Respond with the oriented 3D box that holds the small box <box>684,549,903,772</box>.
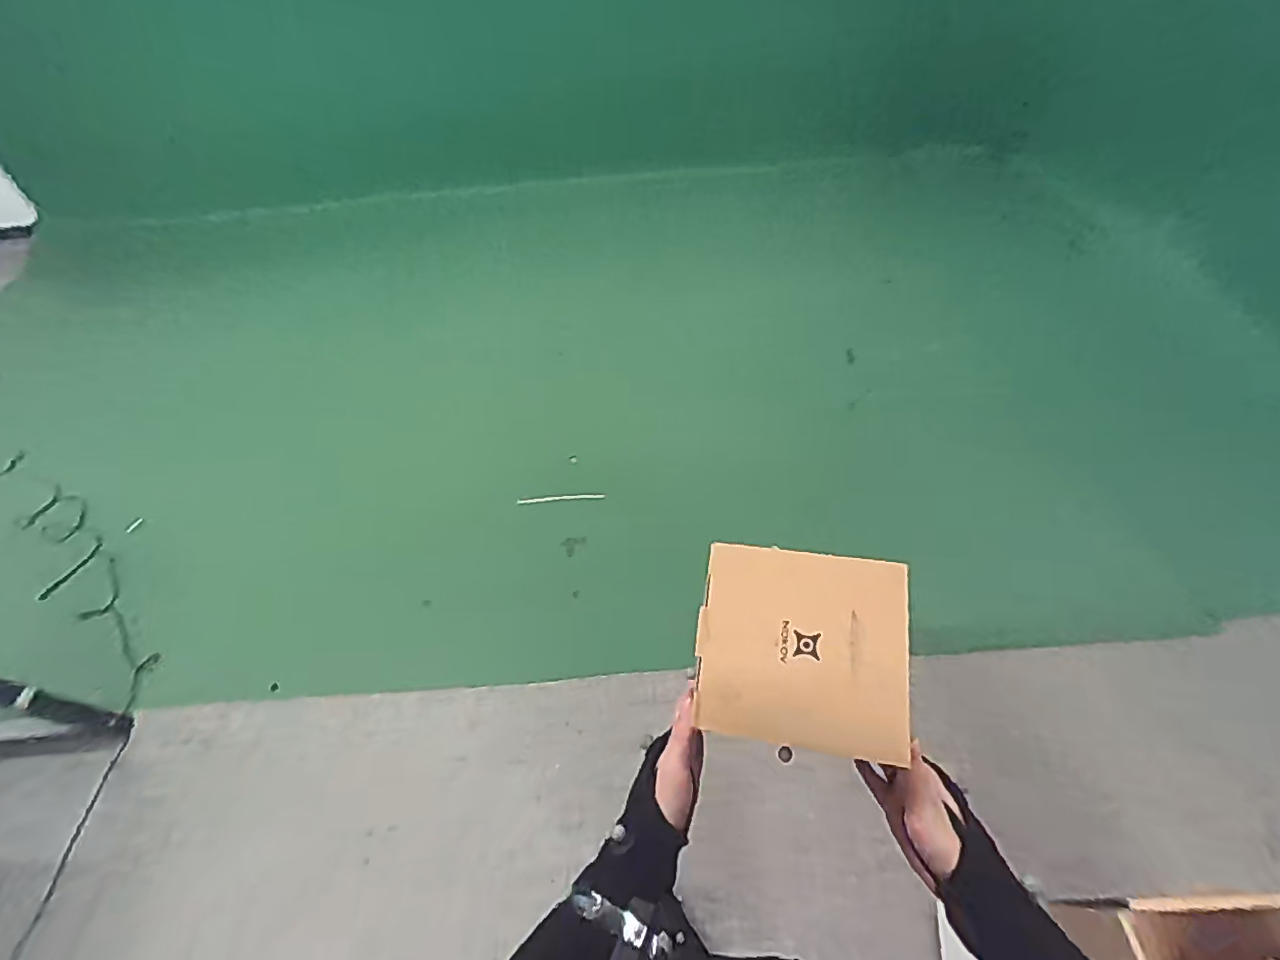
[{"bbox_3d":[0.146,0.177,0.539,0.179,0.176,0.168,5,70,11],"label":"small box"}]
